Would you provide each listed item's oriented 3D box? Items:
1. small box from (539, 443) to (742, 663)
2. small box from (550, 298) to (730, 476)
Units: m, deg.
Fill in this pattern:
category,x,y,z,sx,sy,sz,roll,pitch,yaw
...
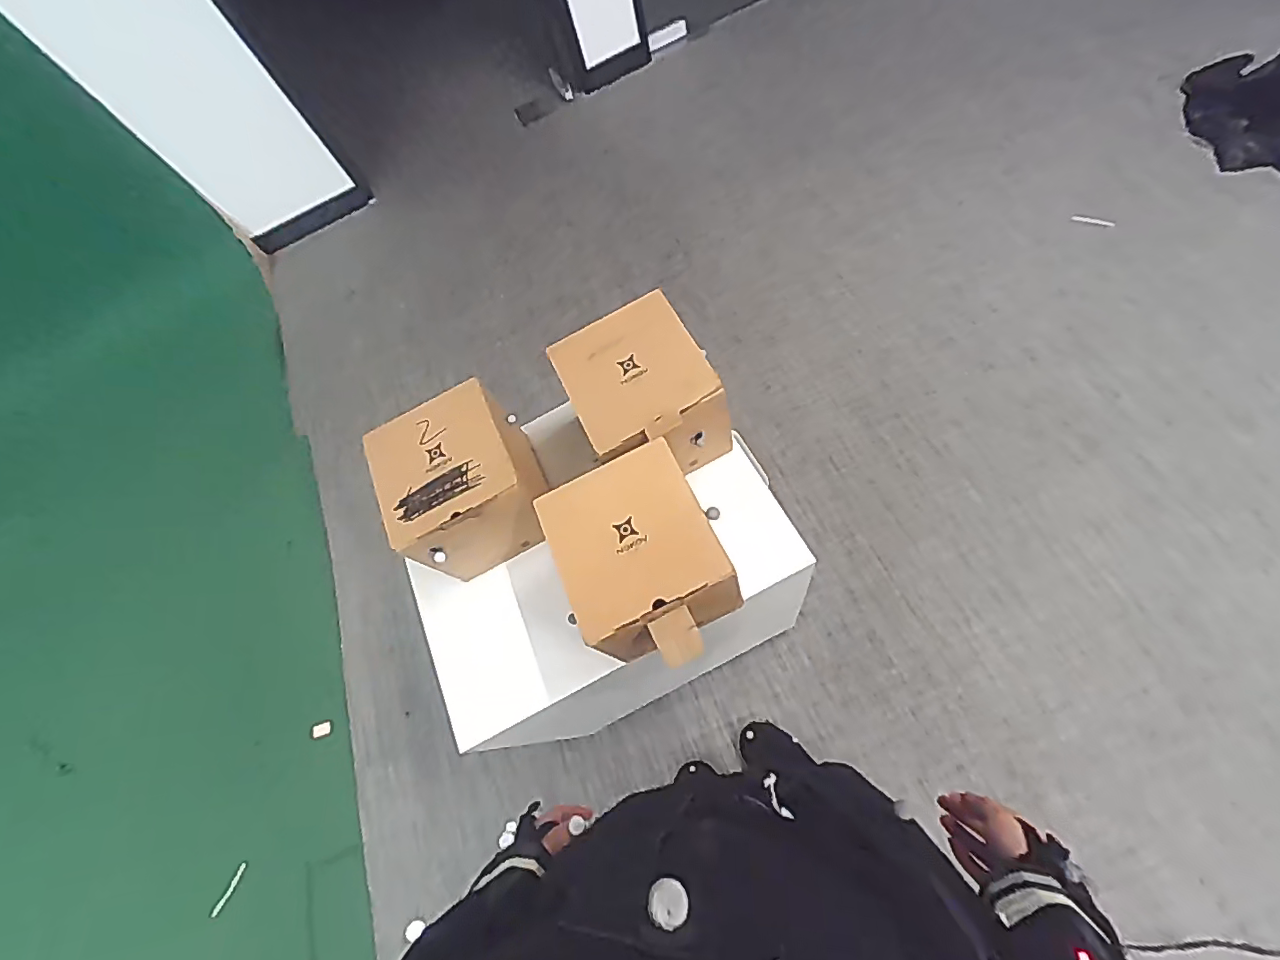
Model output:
category,x,y,z,sx,sy,sz,roll,pitch,yaw
small box,0.007,0.094,0.633,0.168,0.176,0.179,-27,63,0
small box,0.009,-0.094,0.715,0.168,0.176,0.179,-28,63,-1
